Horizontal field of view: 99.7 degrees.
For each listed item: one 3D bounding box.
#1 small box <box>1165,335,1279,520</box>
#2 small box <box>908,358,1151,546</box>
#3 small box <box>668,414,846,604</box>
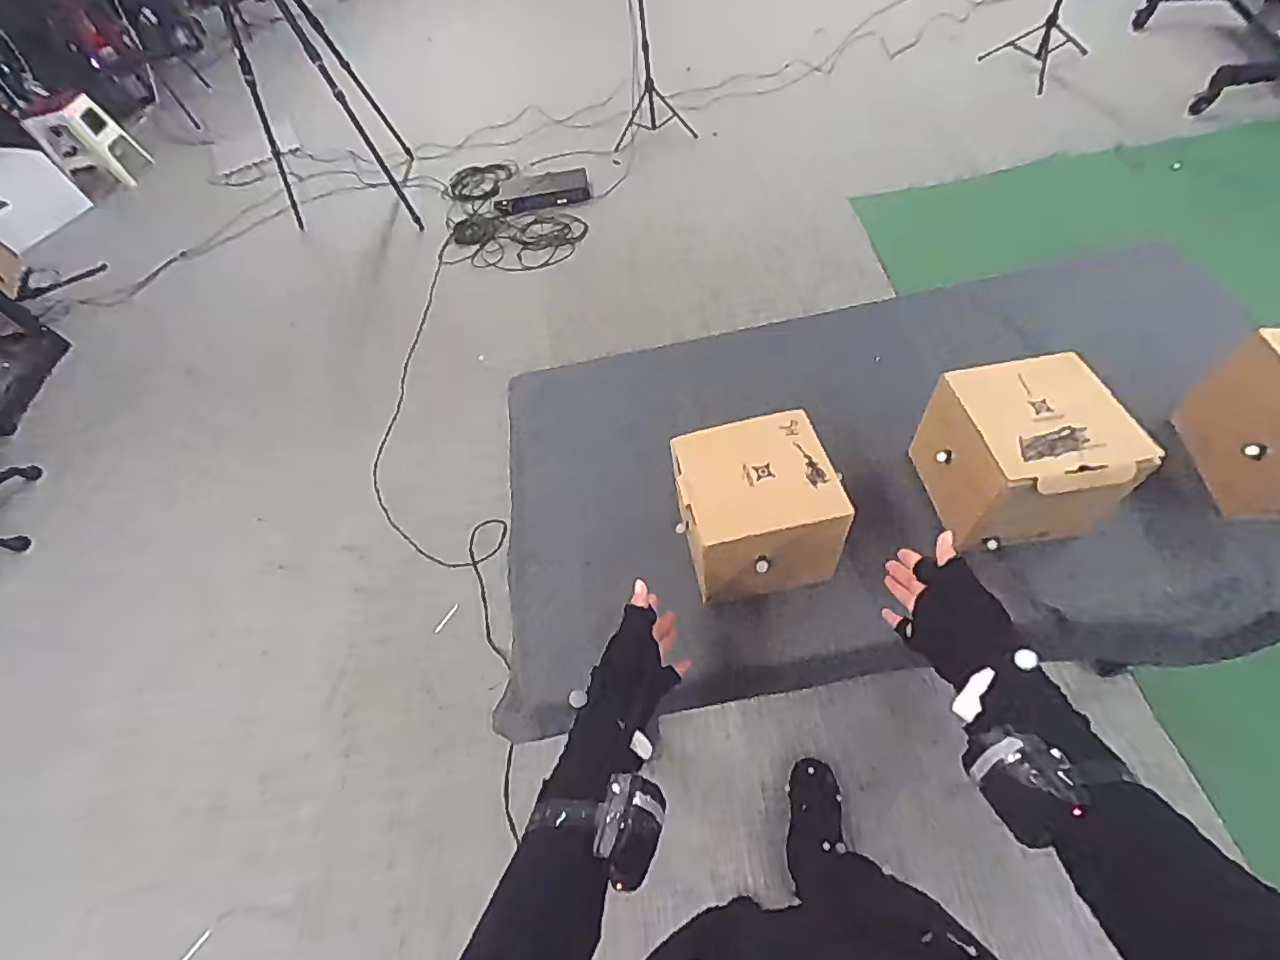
[{"bbox_3d":[0.822,-0.058,0.666,0.168,0.176,0.179,1,55,9],"label":"small box"},{"bbox_3d":[0.478,-0.026,0.701,0.168,0.176,0.179,-9,54,3],"label":"small box"},{"bbox_3d":[0.145,0.044,0.706,0.179,0.176,0.168,-13,53,1],"label":"small box"}]
